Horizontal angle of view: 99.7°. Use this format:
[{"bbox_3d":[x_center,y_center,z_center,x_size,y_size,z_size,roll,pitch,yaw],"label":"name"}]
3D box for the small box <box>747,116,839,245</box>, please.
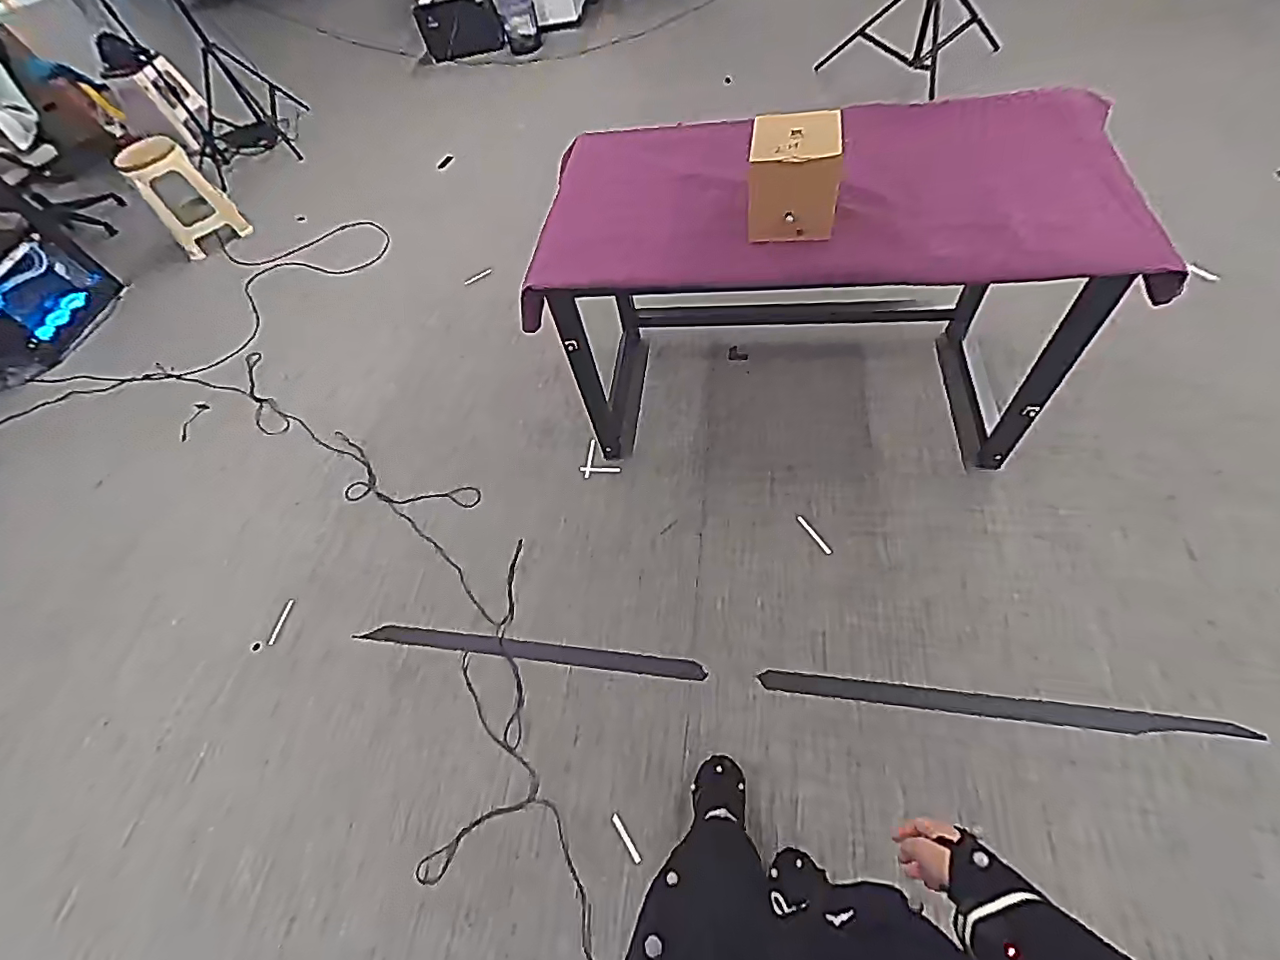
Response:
[{"bbox_3d":[0.307,-0.605,1.100,0.168,0.176,0.179,4,58,13],"label":"small box"}]
